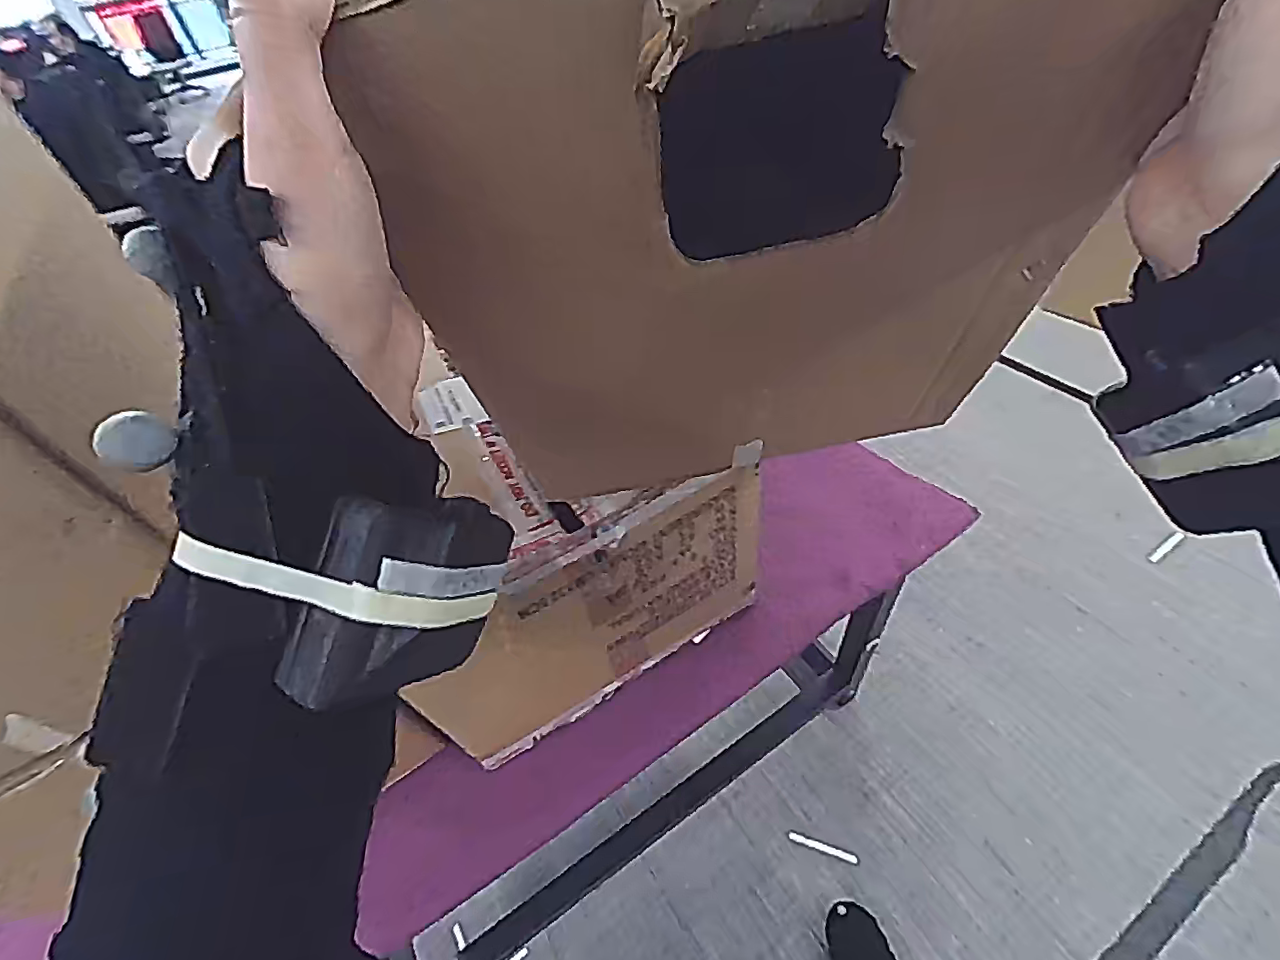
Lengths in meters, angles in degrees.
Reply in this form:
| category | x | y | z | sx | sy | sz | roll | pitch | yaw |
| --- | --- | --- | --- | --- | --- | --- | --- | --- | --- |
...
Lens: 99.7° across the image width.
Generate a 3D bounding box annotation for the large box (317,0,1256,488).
| category | x | y | z | sx | sy | sz | roll | pitch | yaw |
| --- | --- | --- | --- | --- | --- | --- | --- | --- | --- |
| large box | 0.037 | -0.258 | 0.367 | 0.320 | 0.320 | 0.408 | -12 | 64 | 2 |
